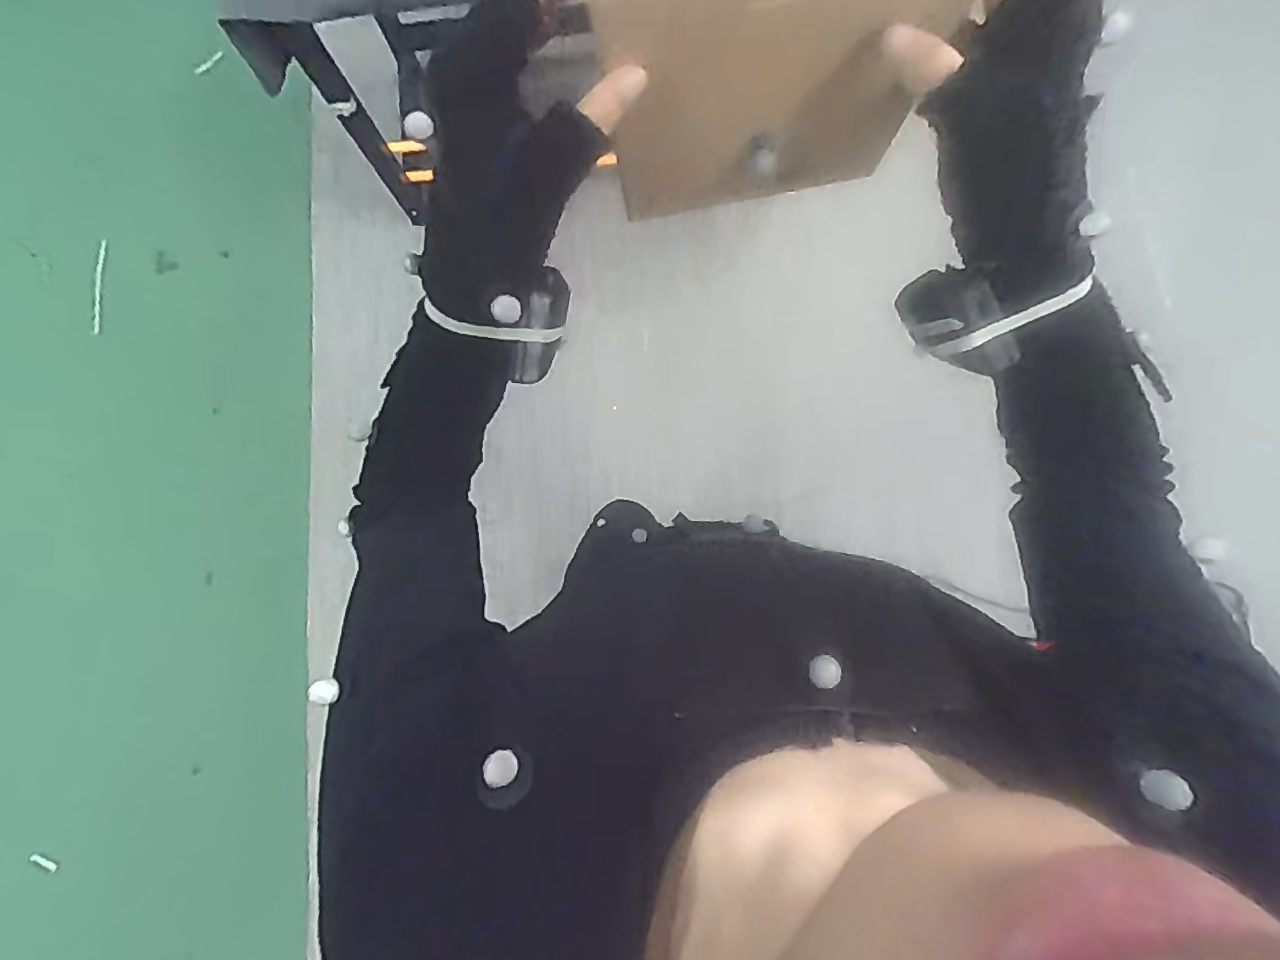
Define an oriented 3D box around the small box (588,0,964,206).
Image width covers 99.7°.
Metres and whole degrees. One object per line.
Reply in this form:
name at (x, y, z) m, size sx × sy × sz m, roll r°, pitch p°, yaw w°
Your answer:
small box at (0.052, -0.280, 0.279) m, size 0.168 × 0.176 × 0.179 m, roll -9°, pitch 87°, yaw 4°
